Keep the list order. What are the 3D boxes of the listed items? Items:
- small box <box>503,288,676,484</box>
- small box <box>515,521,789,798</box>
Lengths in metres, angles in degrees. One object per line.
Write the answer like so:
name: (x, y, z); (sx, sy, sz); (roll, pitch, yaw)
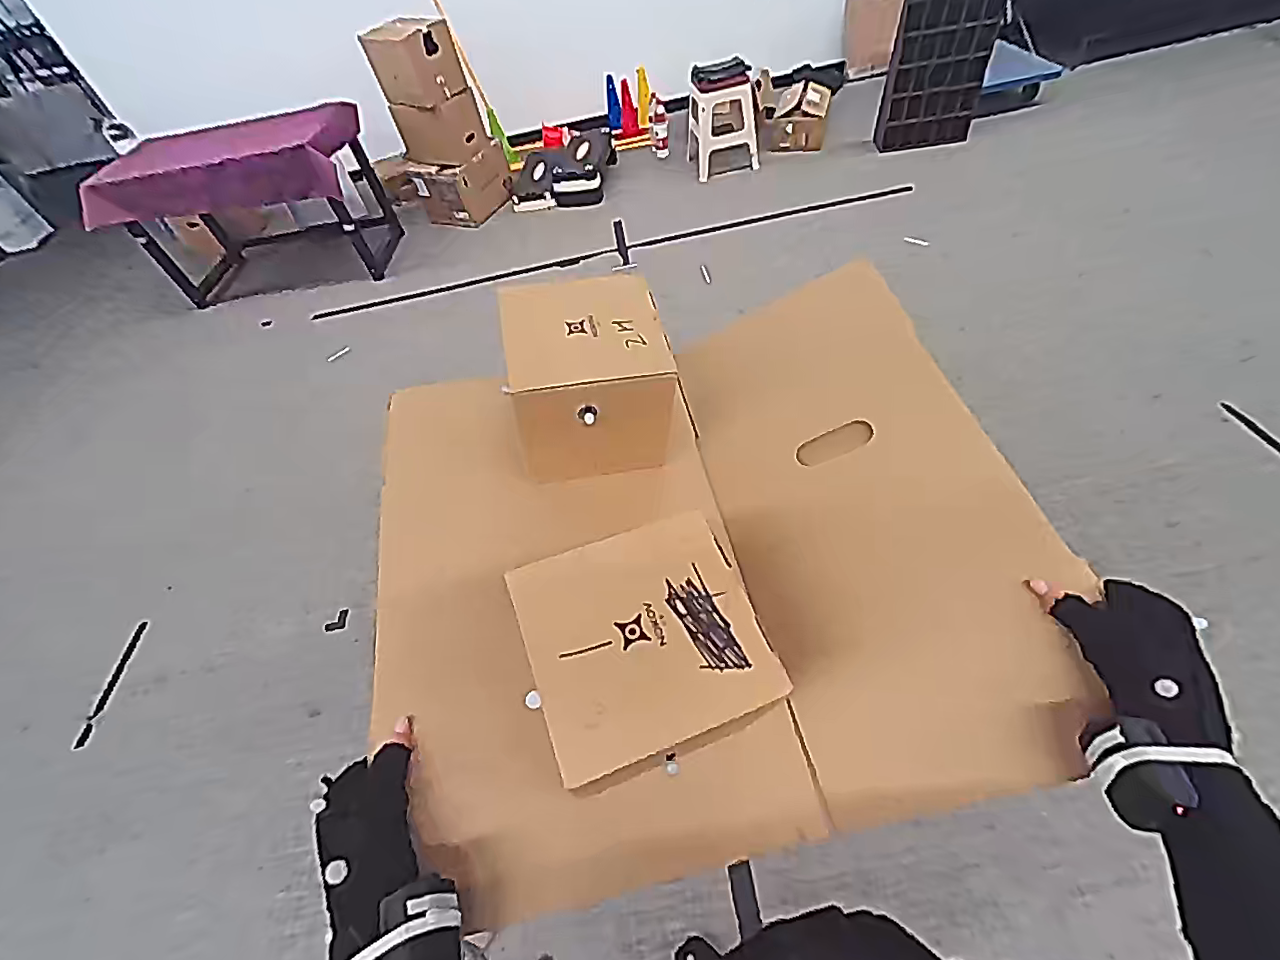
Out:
small box: (-0.063, -0.109, 0.666); (0.179, 0.176, 0.168); (-8, 58, -9)
small box: (0.000, 0.165, 0.489); (0.179, 0.176, 0.168); (-17, 60, -13)
